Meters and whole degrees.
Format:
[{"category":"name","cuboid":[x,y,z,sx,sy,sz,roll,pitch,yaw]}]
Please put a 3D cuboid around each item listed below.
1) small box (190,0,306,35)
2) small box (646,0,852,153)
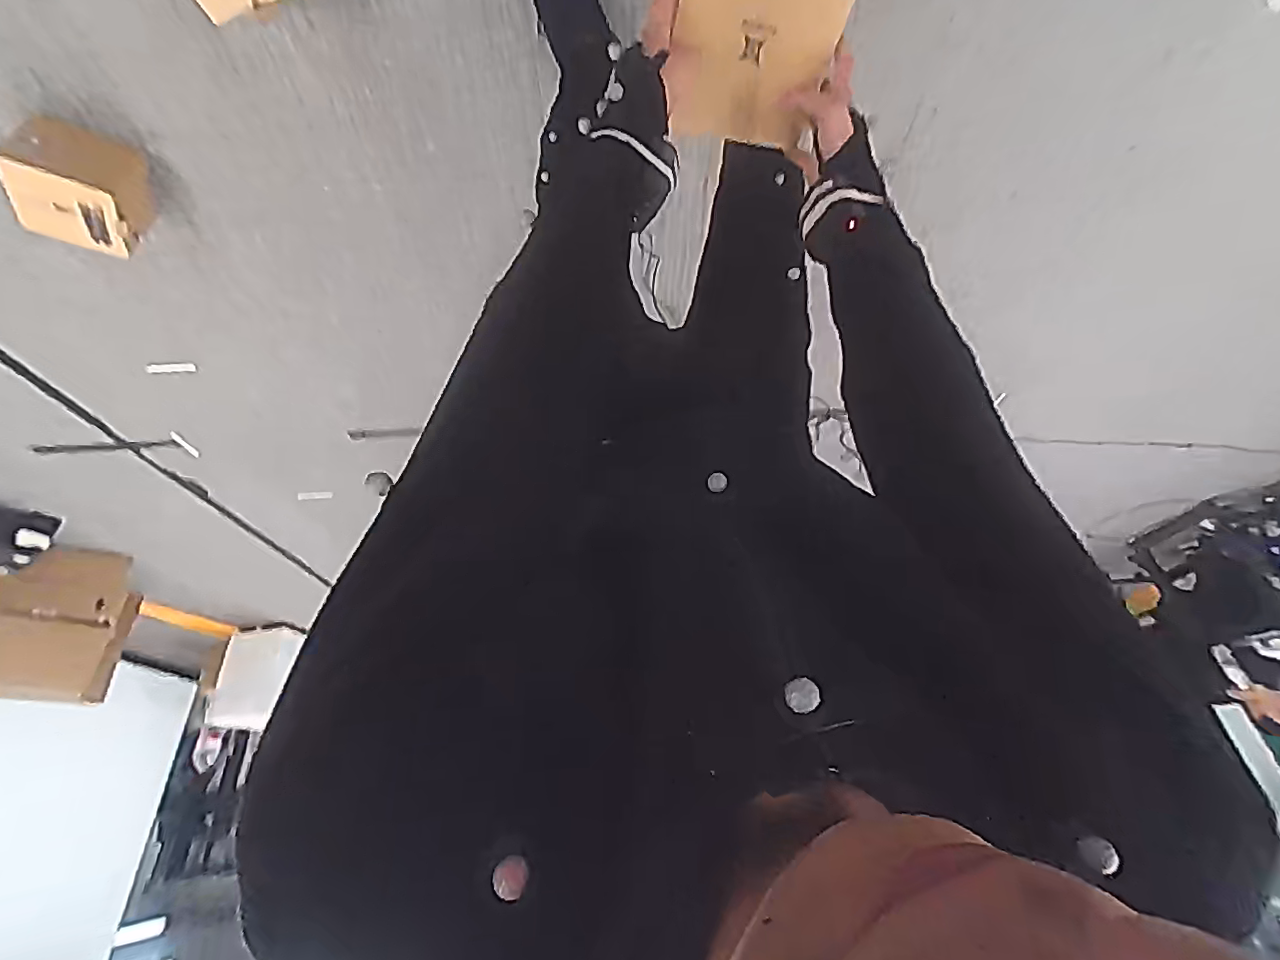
[{"category":"small box","cuboid":[-0.626,-0.839,0.826,0.168,0.176,0.179,-11,148,10]},{"category":"small box","cuboid":[0.103,-0.488,0.573,0.168,0.176,0.179,1,145,-11]}]
